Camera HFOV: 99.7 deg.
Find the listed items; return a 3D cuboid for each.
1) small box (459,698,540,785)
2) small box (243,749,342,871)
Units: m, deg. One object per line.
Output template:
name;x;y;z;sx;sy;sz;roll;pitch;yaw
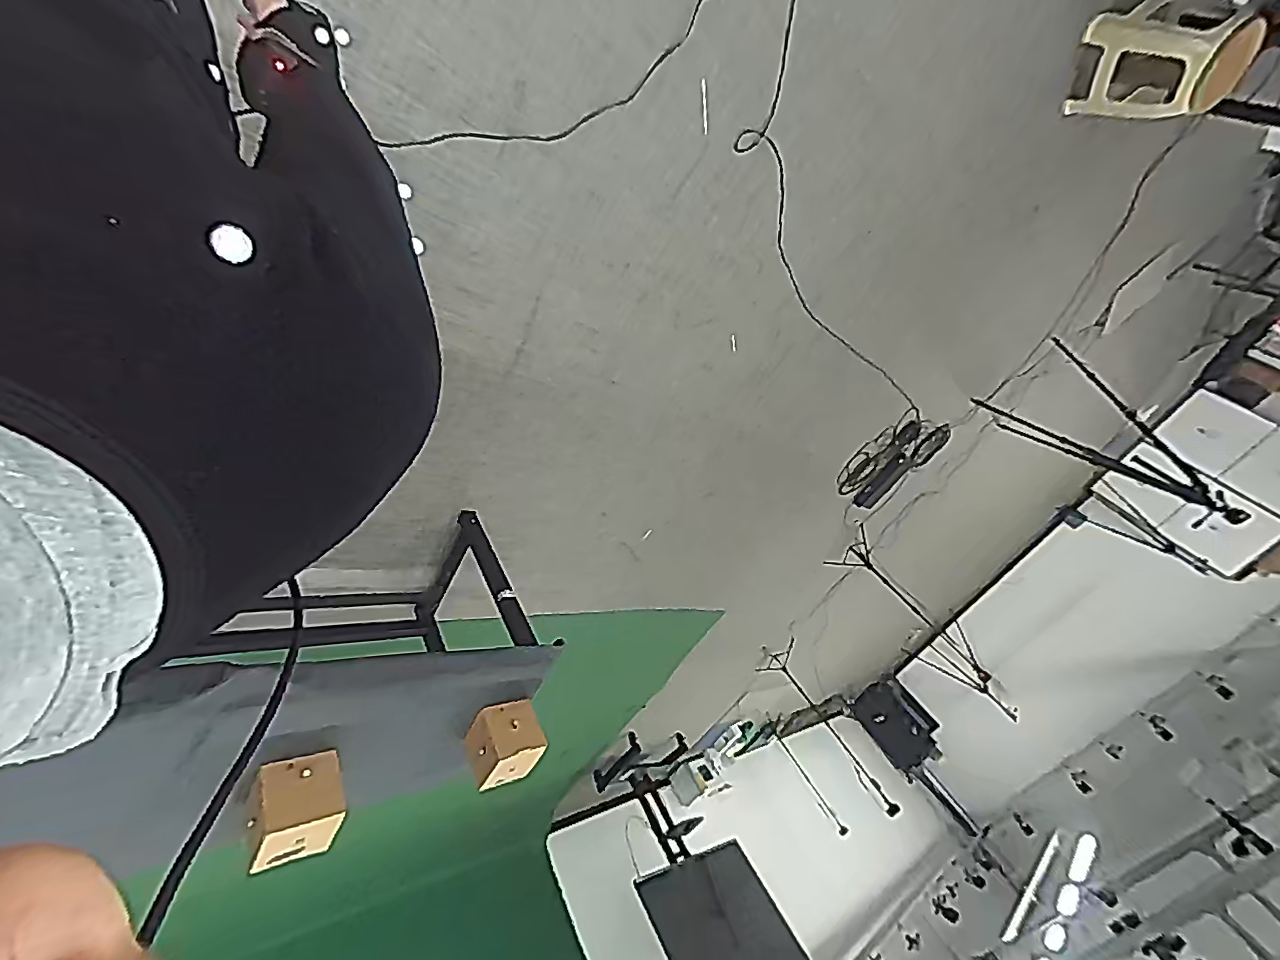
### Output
small box;-0.445;0.806;1.693;0.168;0.176;0.179;6;124;-44
small box;-0.858;0.800;1.327;0.168;0.176;0.179;8;122;-45
